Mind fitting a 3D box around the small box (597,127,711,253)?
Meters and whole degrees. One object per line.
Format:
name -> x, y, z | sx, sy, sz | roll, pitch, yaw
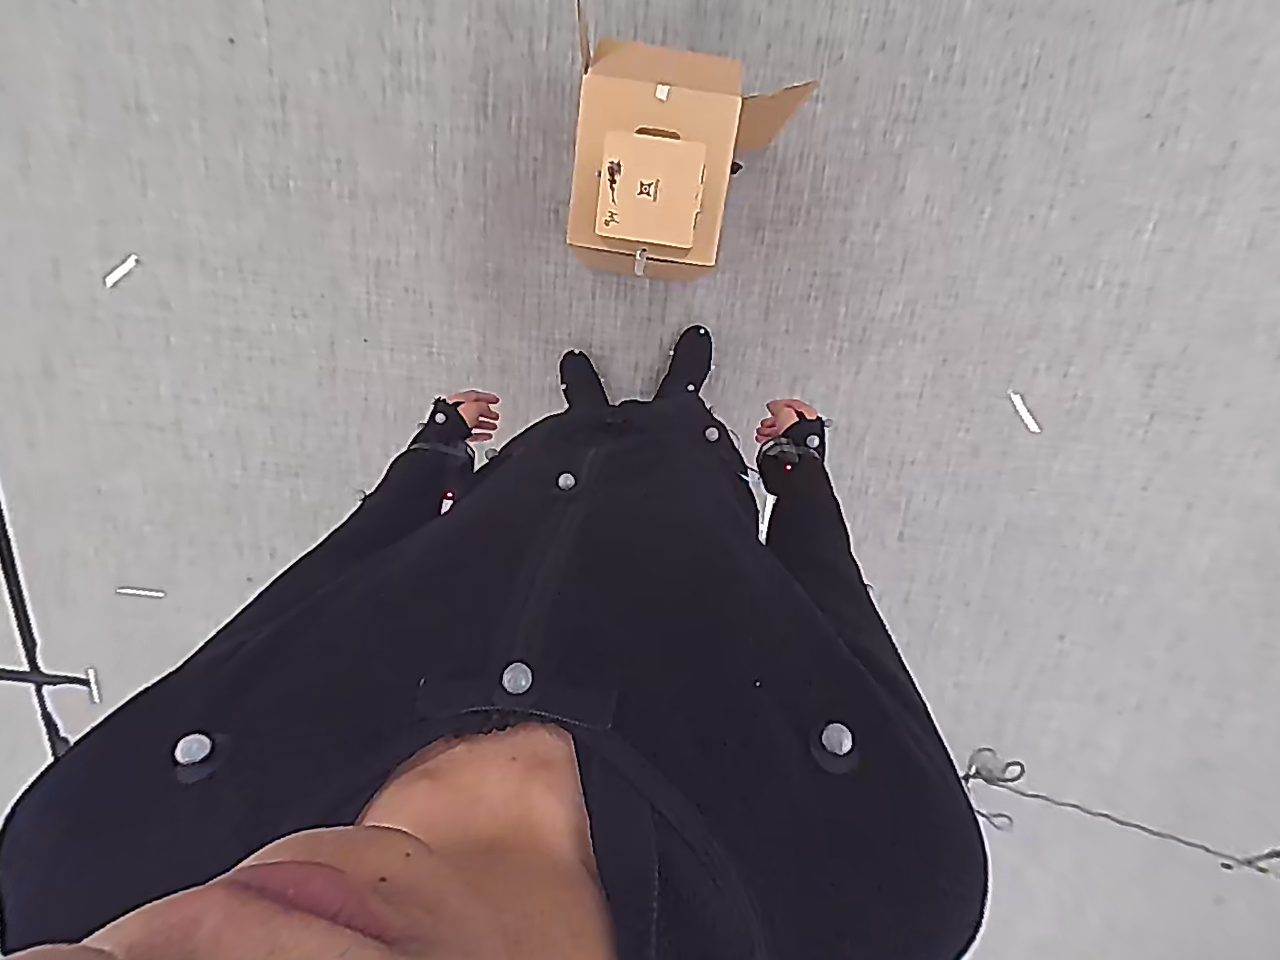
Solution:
small box -> 0.022, -0.521, 0.997 | 0.179, 0.176, 0.168 | 8, 108, -2
